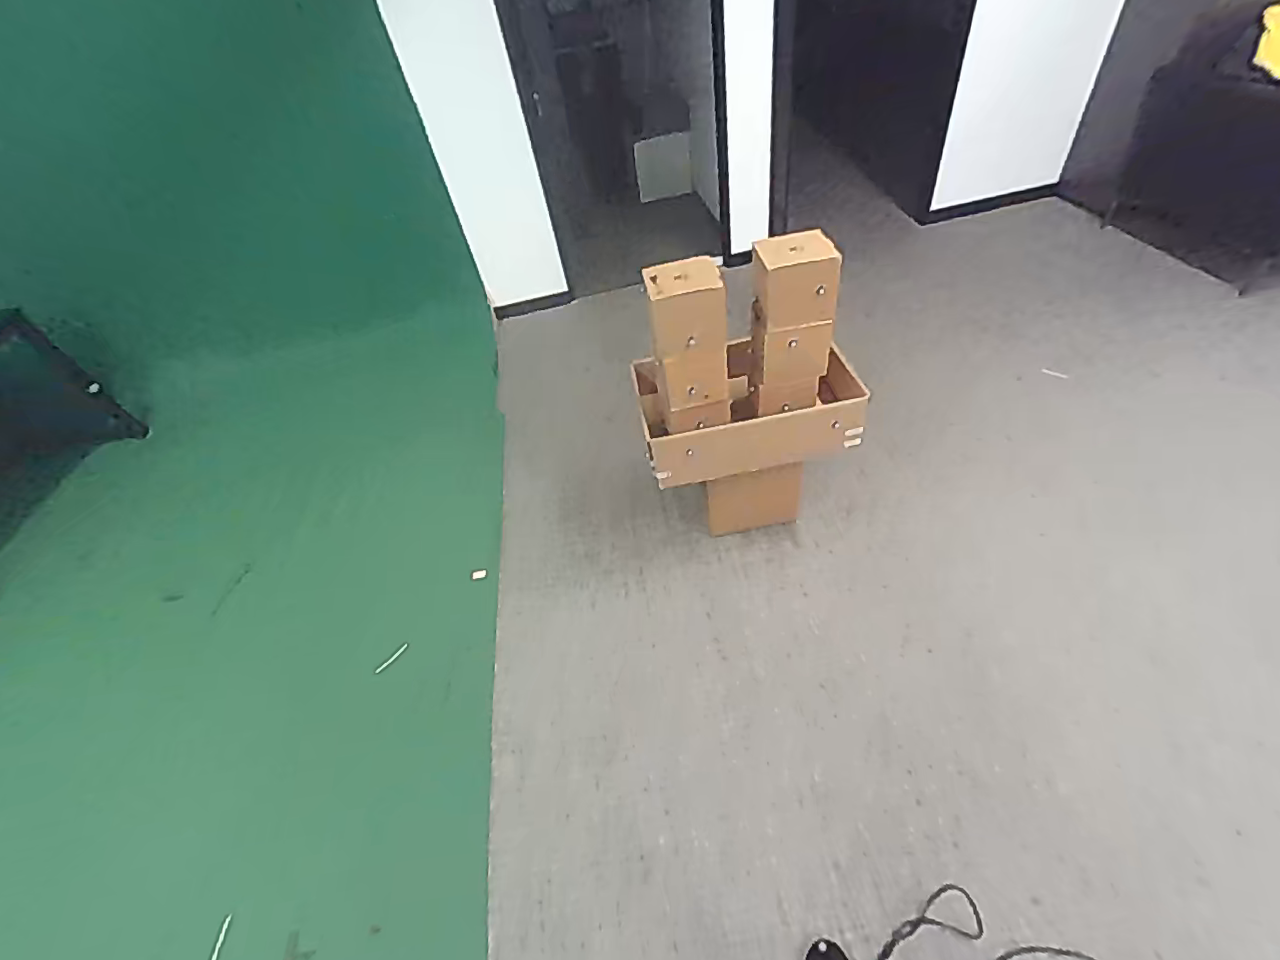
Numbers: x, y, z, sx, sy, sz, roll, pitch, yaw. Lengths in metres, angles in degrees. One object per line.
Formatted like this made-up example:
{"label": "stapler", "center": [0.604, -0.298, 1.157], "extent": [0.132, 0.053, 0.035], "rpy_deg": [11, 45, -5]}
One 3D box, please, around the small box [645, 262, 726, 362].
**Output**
{"label": "small box", "center": [0.115, -0.420, 1.361], "extent": [0.179, 0.176, 0.168], "rpy_deg": [-10, 45, 1]}

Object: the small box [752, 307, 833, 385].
{"label": "small box", "center": [0.413, -0.378, 1.483], "extent": [0.179, 0.176, 0.168], "rpy_deg": [-9, 46, 3]}

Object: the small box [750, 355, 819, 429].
{"label": "small box", "center": [0.424, -0.264, 1.602], "extent": [0.168, 0.176, 0.179], "rpy_deg": [-8, 45, 5]}

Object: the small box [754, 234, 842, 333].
{"label": "small box", "center": [0.392, -0.497, 1.374], "extent": [0.179, 0.176, 0.168], "rpy_deg": [-10, 45, 4]}
